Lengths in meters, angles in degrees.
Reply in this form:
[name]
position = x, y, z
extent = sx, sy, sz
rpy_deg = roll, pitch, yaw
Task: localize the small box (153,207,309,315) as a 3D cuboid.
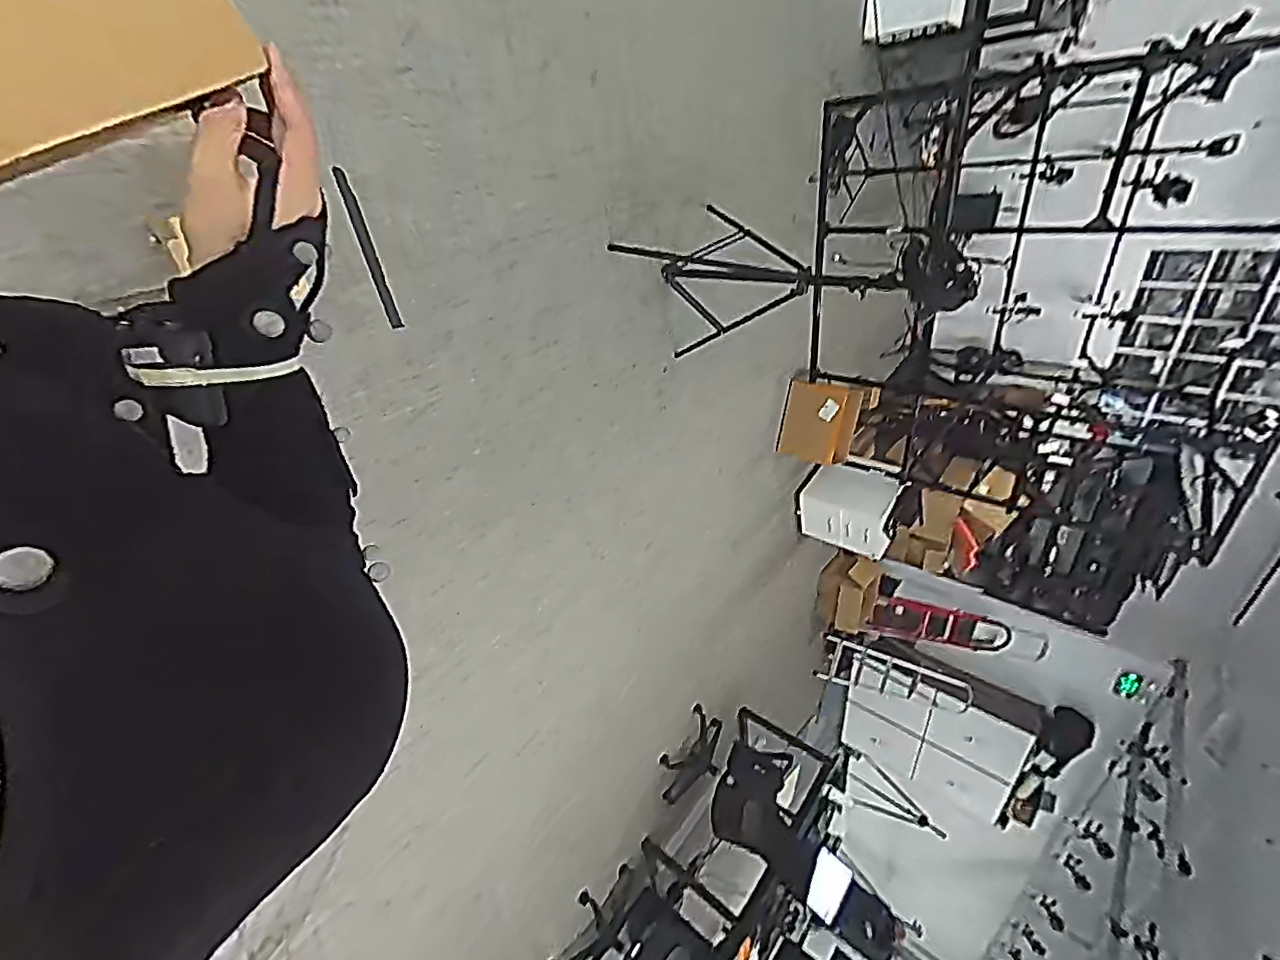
[small box]
position = -0.786, -0.422, 1.037
extent = 0.179, 0.176, 0.168
rpy_deg = -35, 131, -40
